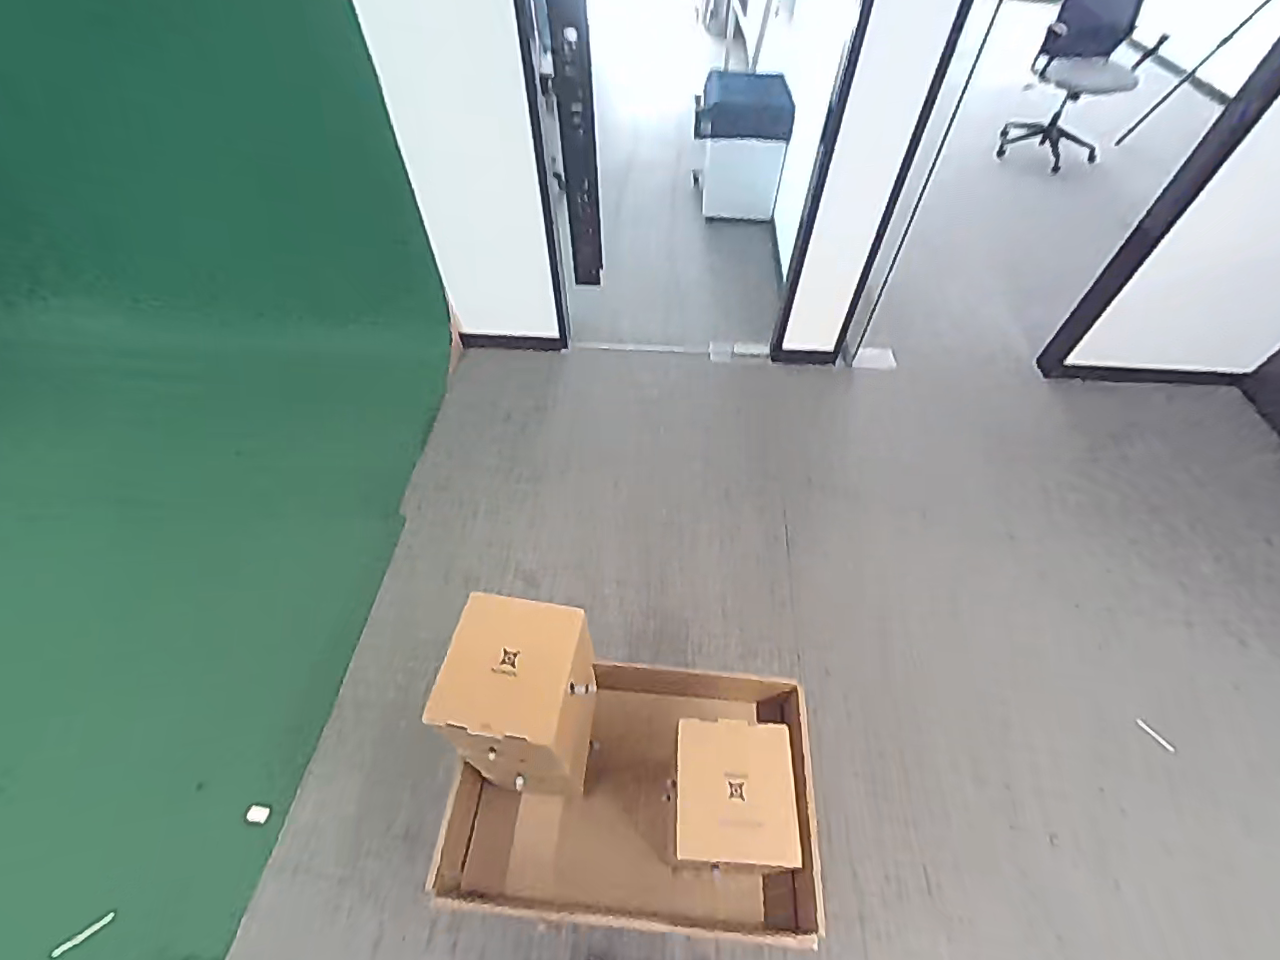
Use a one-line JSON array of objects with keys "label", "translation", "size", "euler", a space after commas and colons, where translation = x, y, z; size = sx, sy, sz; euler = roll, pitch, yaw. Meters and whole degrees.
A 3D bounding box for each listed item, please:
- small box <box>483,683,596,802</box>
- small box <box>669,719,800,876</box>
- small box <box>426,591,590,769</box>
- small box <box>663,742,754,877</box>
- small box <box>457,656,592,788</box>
[{"label": "small box", "translation": [-0.178, 0.484, 1.017], "size": [0.168, 0.176, 0.179], "euler": [6, 52, 3]}, {"label": "small box", "translation": [0.131, 0.480, 0.816], "size": [0.168, 0.176, 0.179], "euler": [3, 52, 2]}, {"label": "small box", "translation": [-0.169, 0.284, 0.760], "size": [0.168, 0.176, 0.179], "euler": [9, 53, 5]}, {"label": "small box", "translation": [0.129, 0.580, 0.946], "size": [0.168, 0.176, 0.179], "euler": [4, 51, 2]}, {"label": "small box", "translation": [-0.175, 0.384, 0.888], "size": [0.168, 0.176, 0.179], "euler": [7, 53, 5]}]
